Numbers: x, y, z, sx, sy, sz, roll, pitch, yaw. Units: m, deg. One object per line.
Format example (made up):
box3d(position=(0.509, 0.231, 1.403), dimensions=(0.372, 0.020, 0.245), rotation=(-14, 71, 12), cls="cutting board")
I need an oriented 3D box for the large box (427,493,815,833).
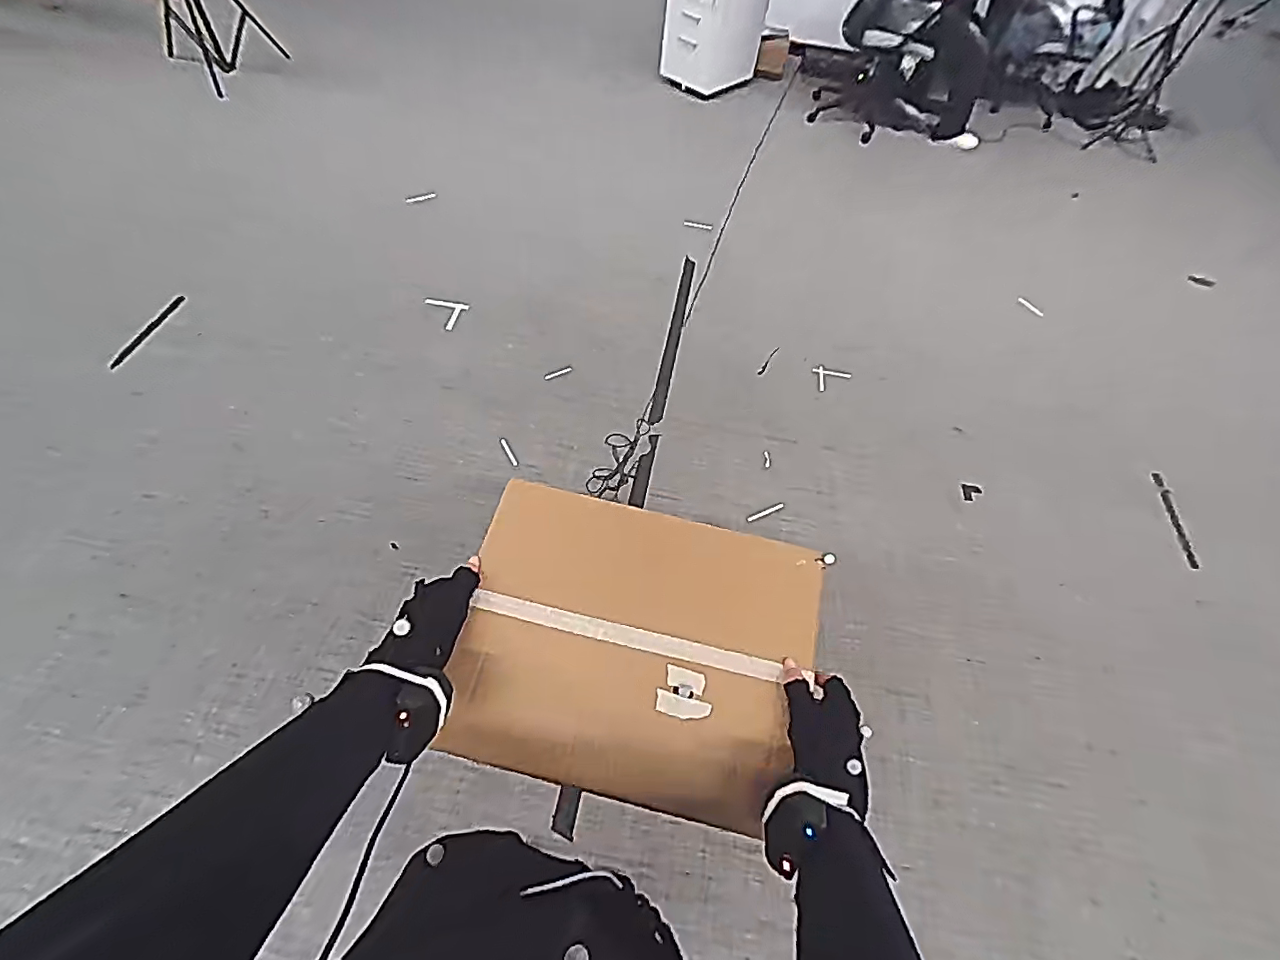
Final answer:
box3d(position=(-0.012, 0.255, 0.759), dimensions=(0.408, 0.320, 0.320), rotation=(13, 64, 3), cls="large box")
